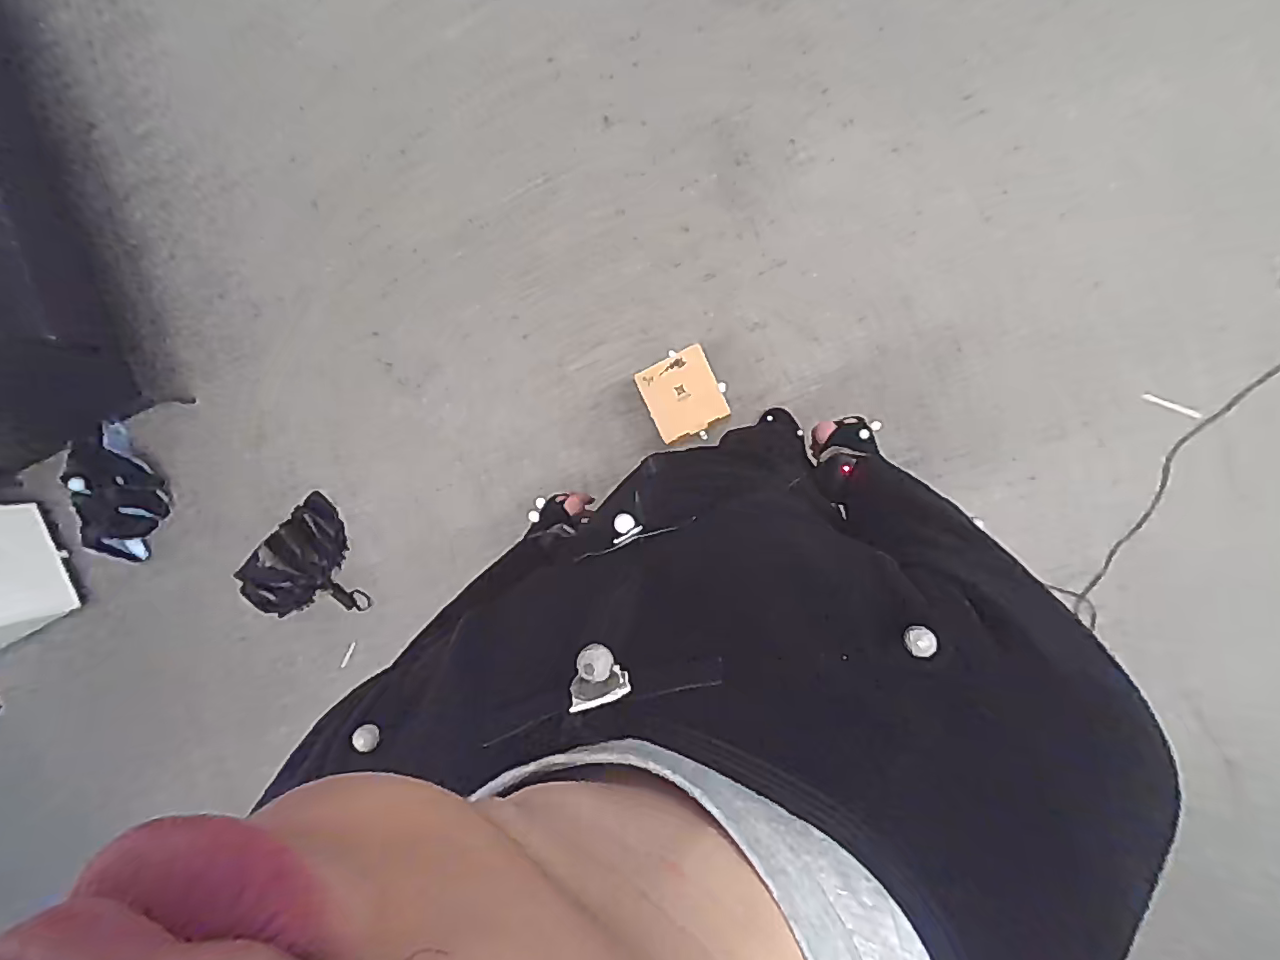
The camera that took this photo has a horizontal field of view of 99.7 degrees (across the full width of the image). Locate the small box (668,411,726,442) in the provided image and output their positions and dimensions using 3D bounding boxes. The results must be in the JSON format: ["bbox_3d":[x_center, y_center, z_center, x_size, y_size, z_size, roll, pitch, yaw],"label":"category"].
[{"bbox_3d":[0.121,-0.213,1.456,0.168,0.176,0.179,-27,90,11],"label":"small box"}]

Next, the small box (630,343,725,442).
[{"bbox_3d":[0.098,-0.205,1.295,0.168,0.176,0.179,-25,90,11],"label":"small box"}]
